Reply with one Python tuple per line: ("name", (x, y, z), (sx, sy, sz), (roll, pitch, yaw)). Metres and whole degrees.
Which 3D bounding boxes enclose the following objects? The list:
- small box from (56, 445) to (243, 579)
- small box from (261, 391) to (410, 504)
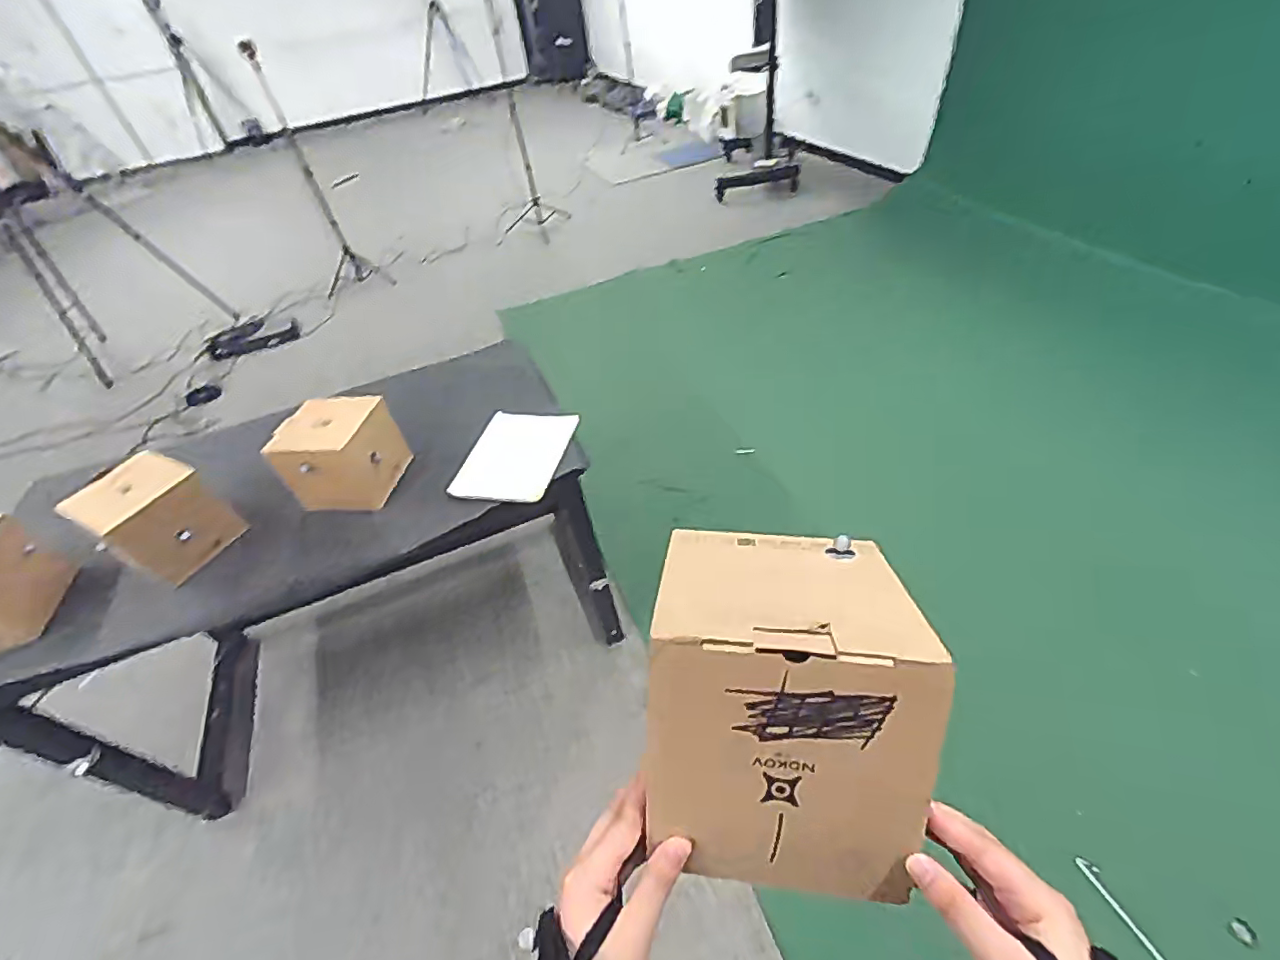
("small box", (-0.918, 0.064, 1.030), (0.179, 0.176, 0.168), (15, 49, 23))
("small box", (-0.607, -0.064, 1.107), (0.179, 0.176, 0.168), (-1, 45, 10))
